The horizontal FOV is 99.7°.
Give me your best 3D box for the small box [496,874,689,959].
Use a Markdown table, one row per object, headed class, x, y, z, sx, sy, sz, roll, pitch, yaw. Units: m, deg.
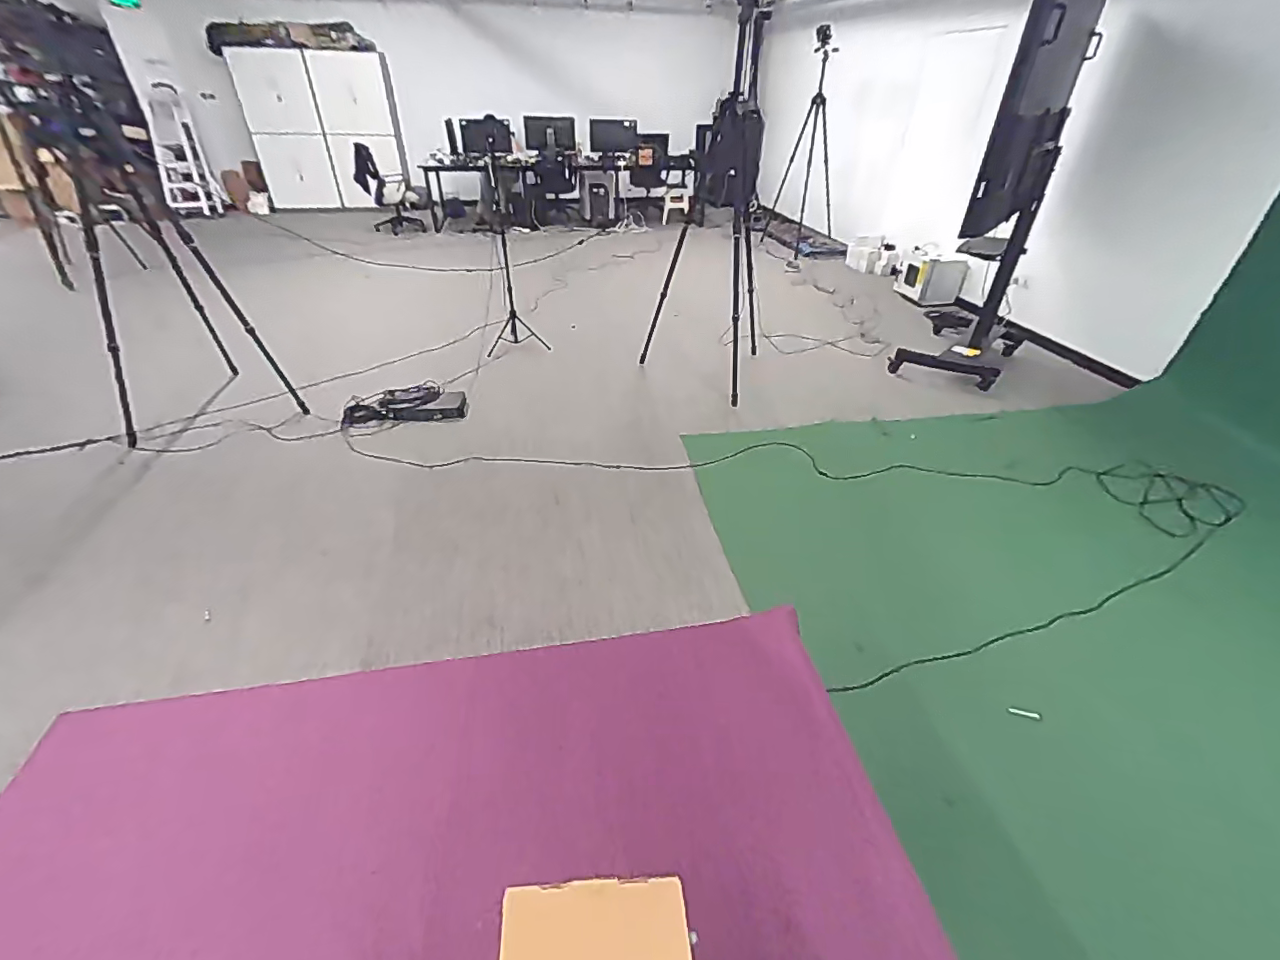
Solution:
| class | x | y | z | sx | sy | sz | roll | pitch | yaw |
| --- | --- | --- | --- | --- | --- | --- | --- | --- | --- |
| small box | -0.044 | 0.487 | 0.473 | 0.168 | 0.176 | 0.179 | 2 | 31 | -8 |
